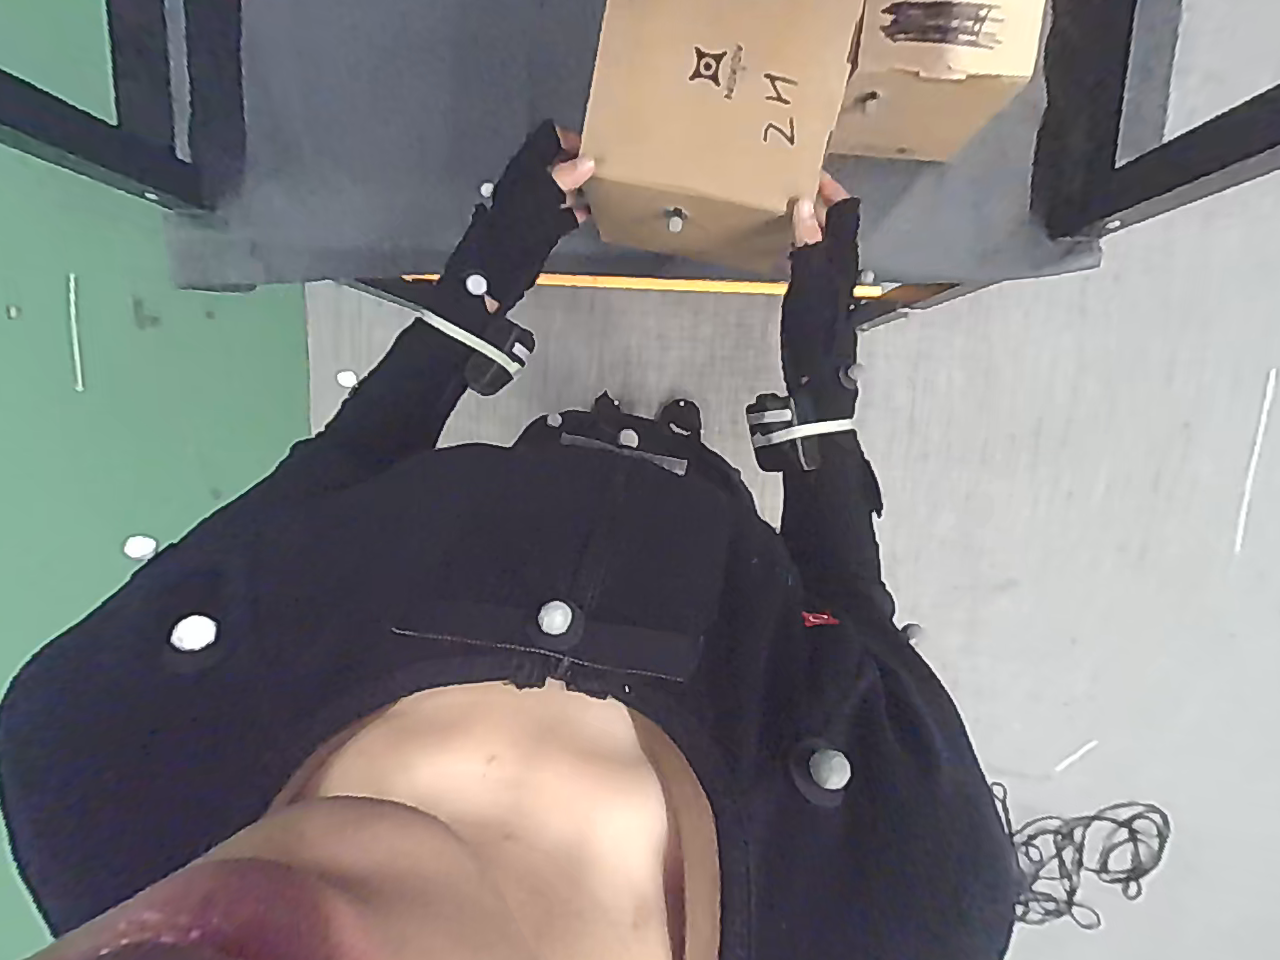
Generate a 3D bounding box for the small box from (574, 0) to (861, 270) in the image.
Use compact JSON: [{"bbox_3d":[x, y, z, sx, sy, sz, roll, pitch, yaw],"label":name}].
[{"bbox_3d":[0.057,-0.294,0.462,0.179,0.176,0.168,13,98,1],"label":"small box"}]
